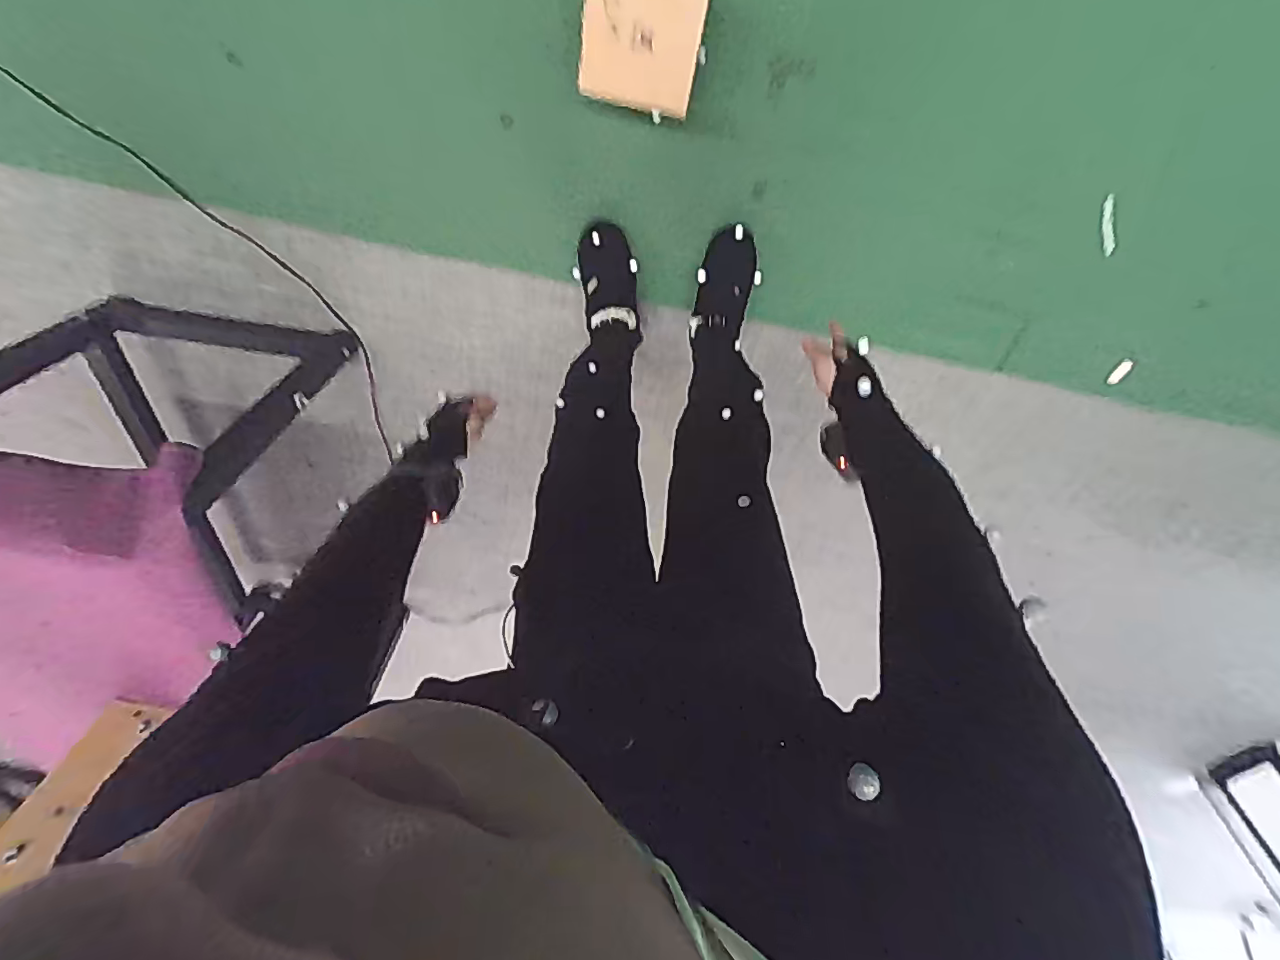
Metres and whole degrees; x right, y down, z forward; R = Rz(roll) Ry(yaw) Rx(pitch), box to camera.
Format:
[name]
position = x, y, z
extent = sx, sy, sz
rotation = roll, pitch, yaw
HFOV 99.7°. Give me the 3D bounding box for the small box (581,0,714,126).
[small box]
position = 0.011, -0.695, 0.870
extent = 0.179, 0.176, 0.168
rotation = 11, 129, -4
